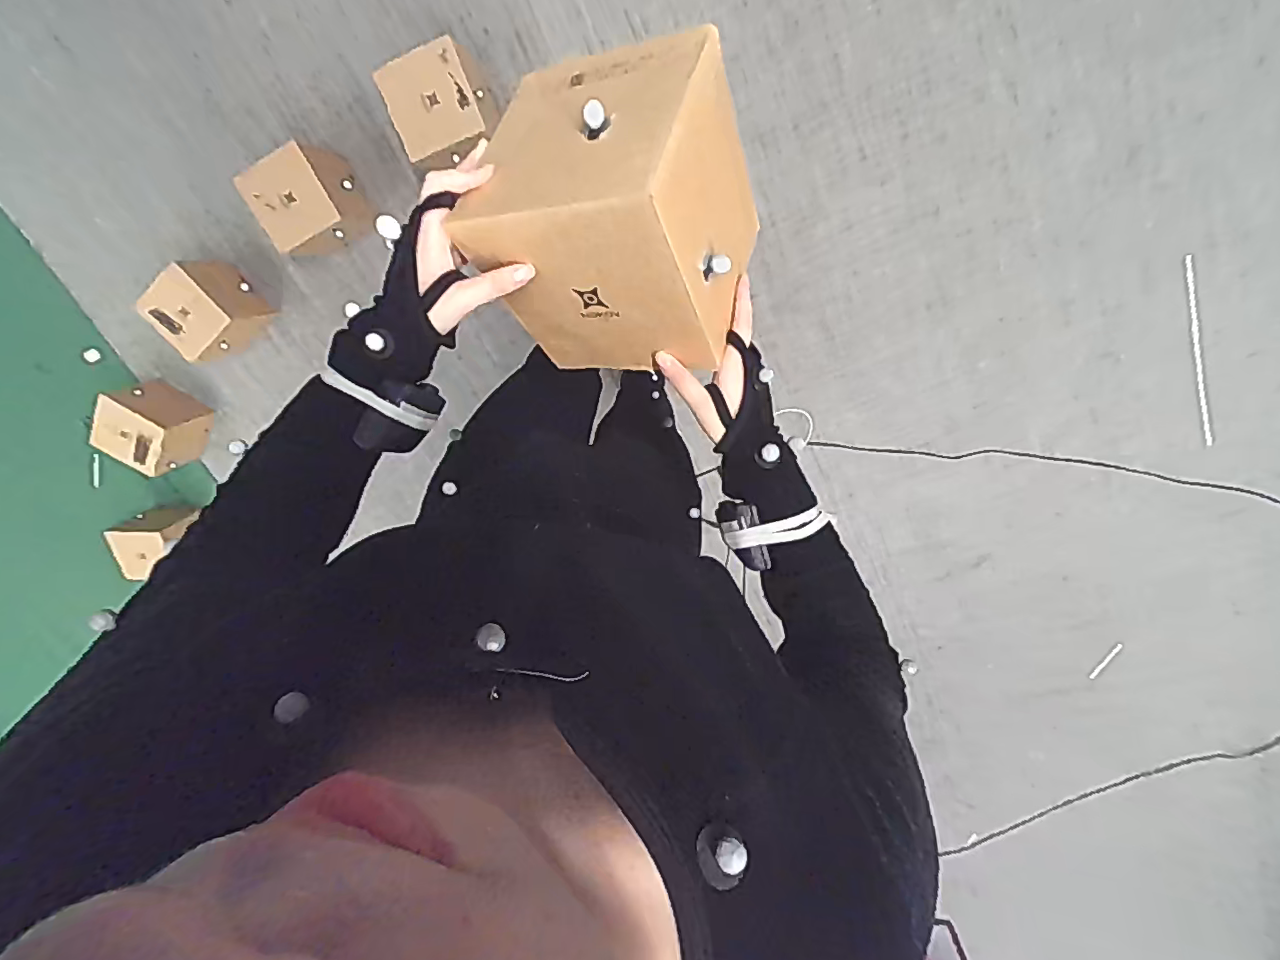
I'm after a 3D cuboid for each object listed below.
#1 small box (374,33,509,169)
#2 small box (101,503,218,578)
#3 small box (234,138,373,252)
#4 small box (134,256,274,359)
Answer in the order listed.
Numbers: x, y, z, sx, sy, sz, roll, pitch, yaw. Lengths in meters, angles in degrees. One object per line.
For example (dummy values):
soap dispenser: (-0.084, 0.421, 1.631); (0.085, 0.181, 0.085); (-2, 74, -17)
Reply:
small box: (-0.401, -0.772, 1.125); (0.179, 0.176, 0.168); (-16, 111, 12)
small box: (-1.430, 0.177, 1.622); (0.179, 0.176, 0.168); (1, 113, 4)
small box: (-0.736, -0.631, 1.214); (0.179, 0.176, 0.168); (-21, 109, 13)
small box: (-1.058, -0.426, 1.329); (0.179, 0.176, 0.168); (-33, 107, 16)
